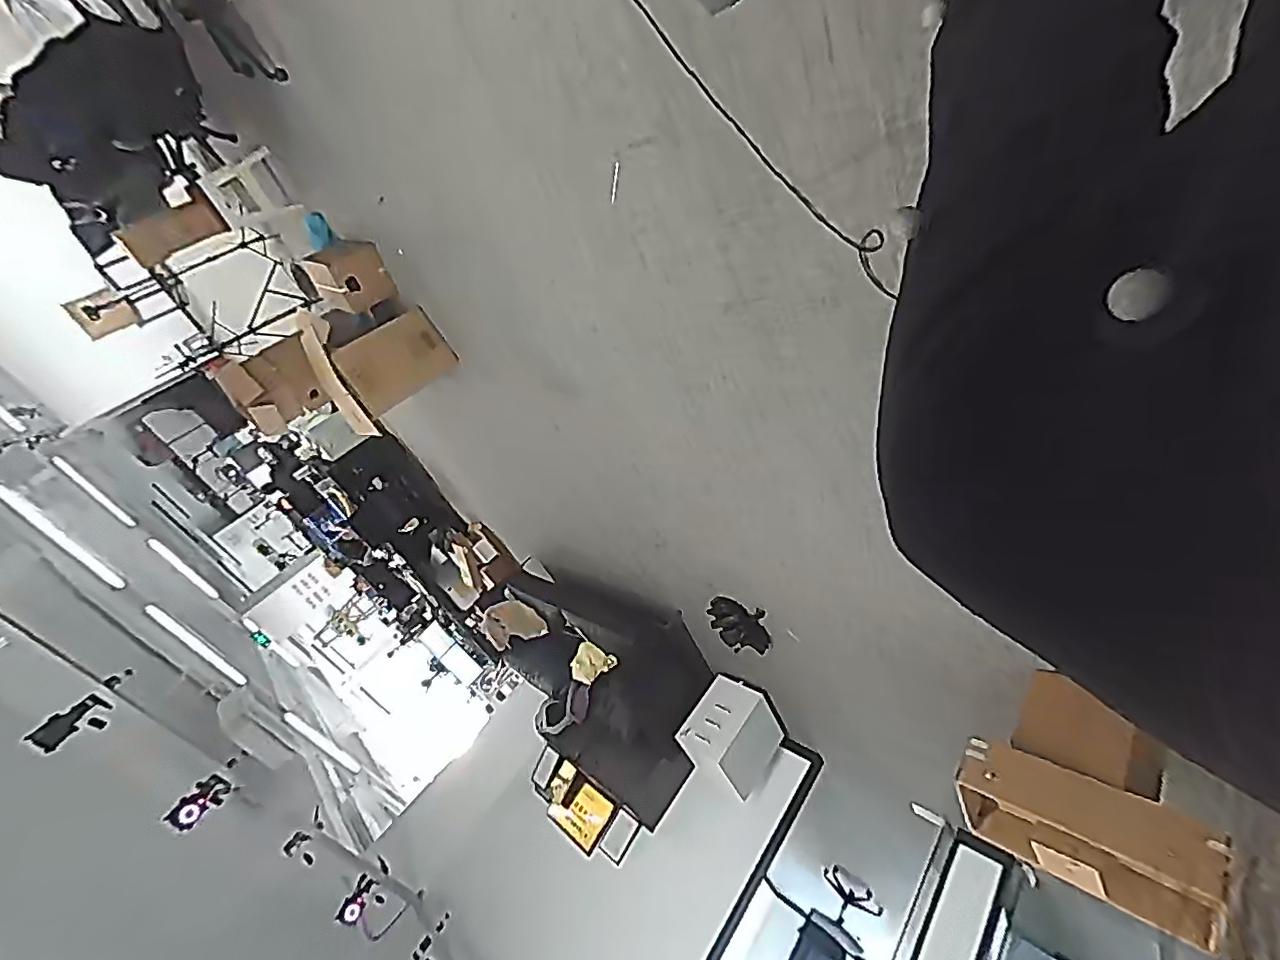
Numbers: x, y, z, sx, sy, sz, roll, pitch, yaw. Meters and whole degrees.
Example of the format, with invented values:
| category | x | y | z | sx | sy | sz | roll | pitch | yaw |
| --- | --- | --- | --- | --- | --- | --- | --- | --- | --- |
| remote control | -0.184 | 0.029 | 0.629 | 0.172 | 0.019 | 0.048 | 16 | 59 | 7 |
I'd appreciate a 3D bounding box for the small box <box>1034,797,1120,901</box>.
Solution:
| category | x | y | z | sx | sy | sz | roll | pitch | yaw |
| --- | --- | --- | --- | --- | --- | --- | --- | --- | --- |
| small box | 1.345 | 1.126 | 1.660 | 0.168 | 0.176 | 0.179 | -1 | 129 | 51 |
